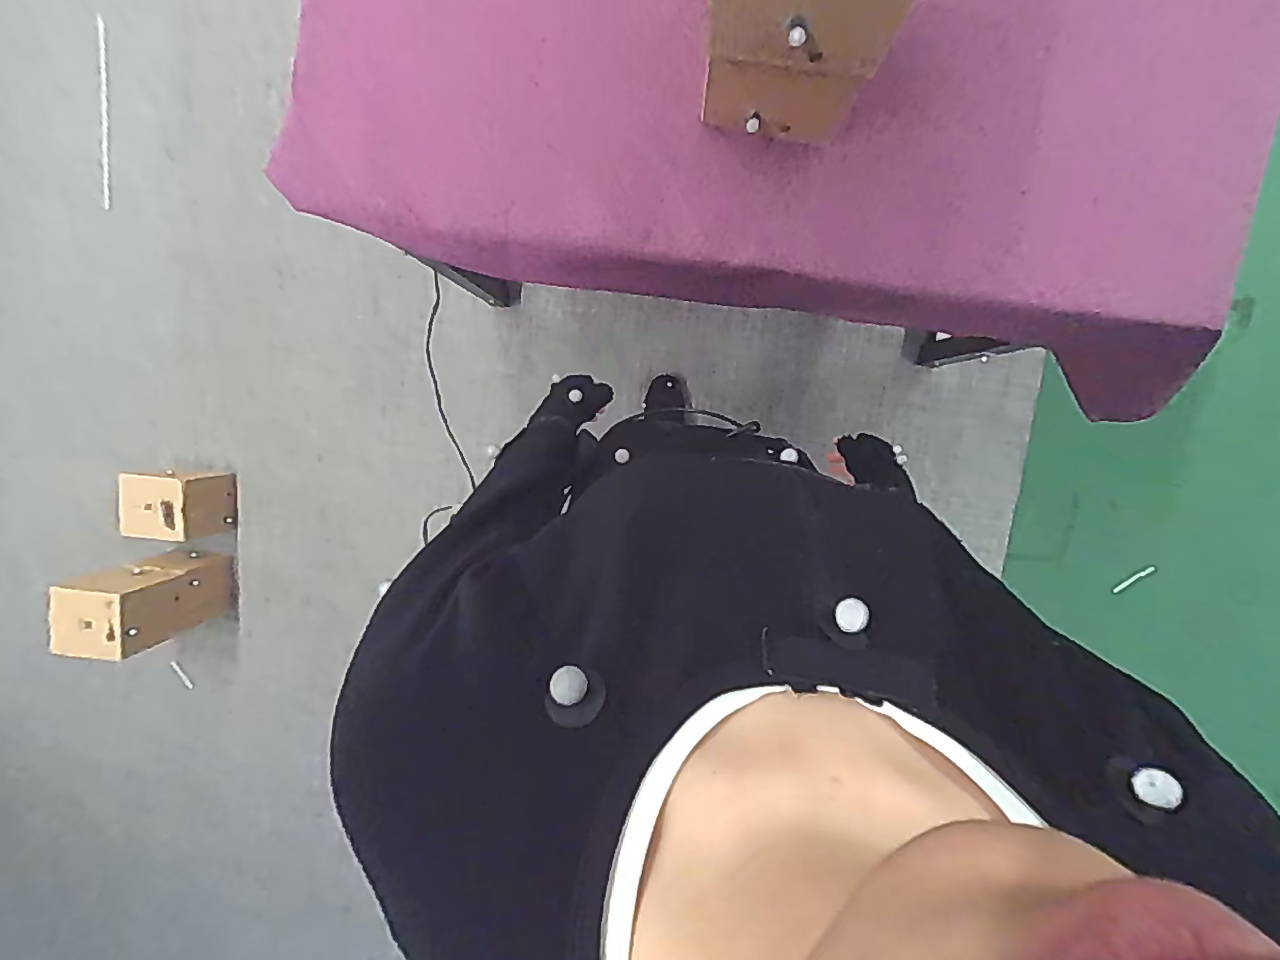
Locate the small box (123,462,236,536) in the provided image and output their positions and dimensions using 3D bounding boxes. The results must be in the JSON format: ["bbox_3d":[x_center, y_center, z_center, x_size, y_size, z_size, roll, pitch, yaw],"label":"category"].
[{"bbox_3d":[-1.236,0.046,1.464,0.179,0.176,0.168,6,97,3],"label":"small box"}]

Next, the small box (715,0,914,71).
[{"bbox_3d":[0.157,-0.482,0.433,0.168,0.176,0.179,11,97,3],"label":"small box"}]

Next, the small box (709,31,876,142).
[{"bbox_3d":[0.174,-0.515,0.593,0.168,0.176,0.179,12,98,3],"label":"small box"}]

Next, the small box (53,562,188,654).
[{"bbox_3d":[-1.274,0.307,1.333,0.179,0.176,0.168,7,97,3],"label":"small box"}]
